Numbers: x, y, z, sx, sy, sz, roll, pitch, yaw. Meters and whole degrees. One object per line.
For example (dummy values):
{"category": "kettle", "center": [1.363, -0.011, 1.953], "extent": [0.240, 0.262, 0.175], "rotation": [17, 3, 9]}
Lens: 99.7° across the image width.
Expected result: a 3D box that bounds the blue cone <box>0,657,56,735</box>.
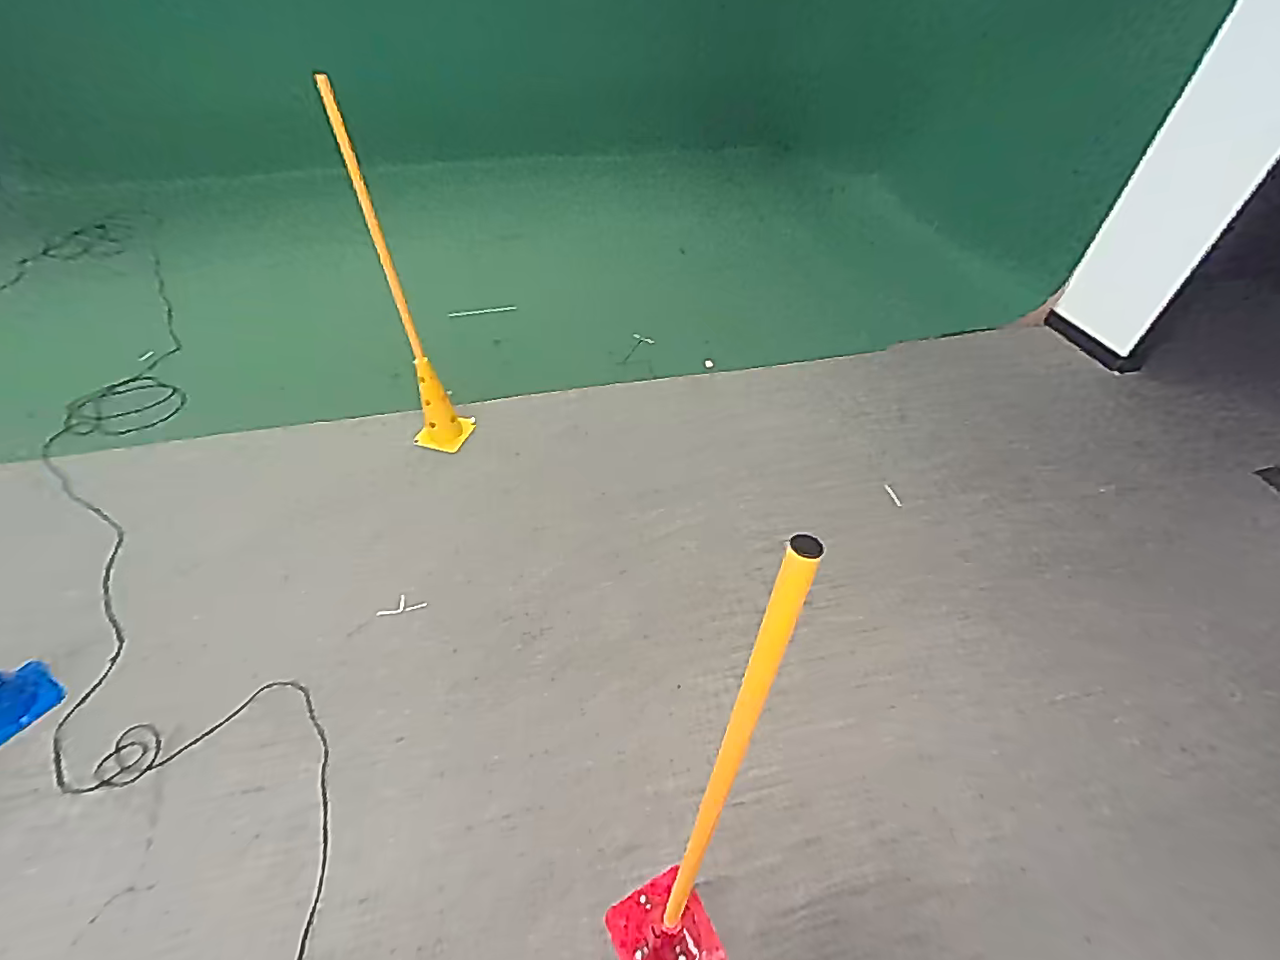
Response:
{"category": "blue cone", "center": [-1.702, 0.483, 1.328], "extent": [0.192, 0.380, 0.193], "rotation": [26, 54, 21]}
